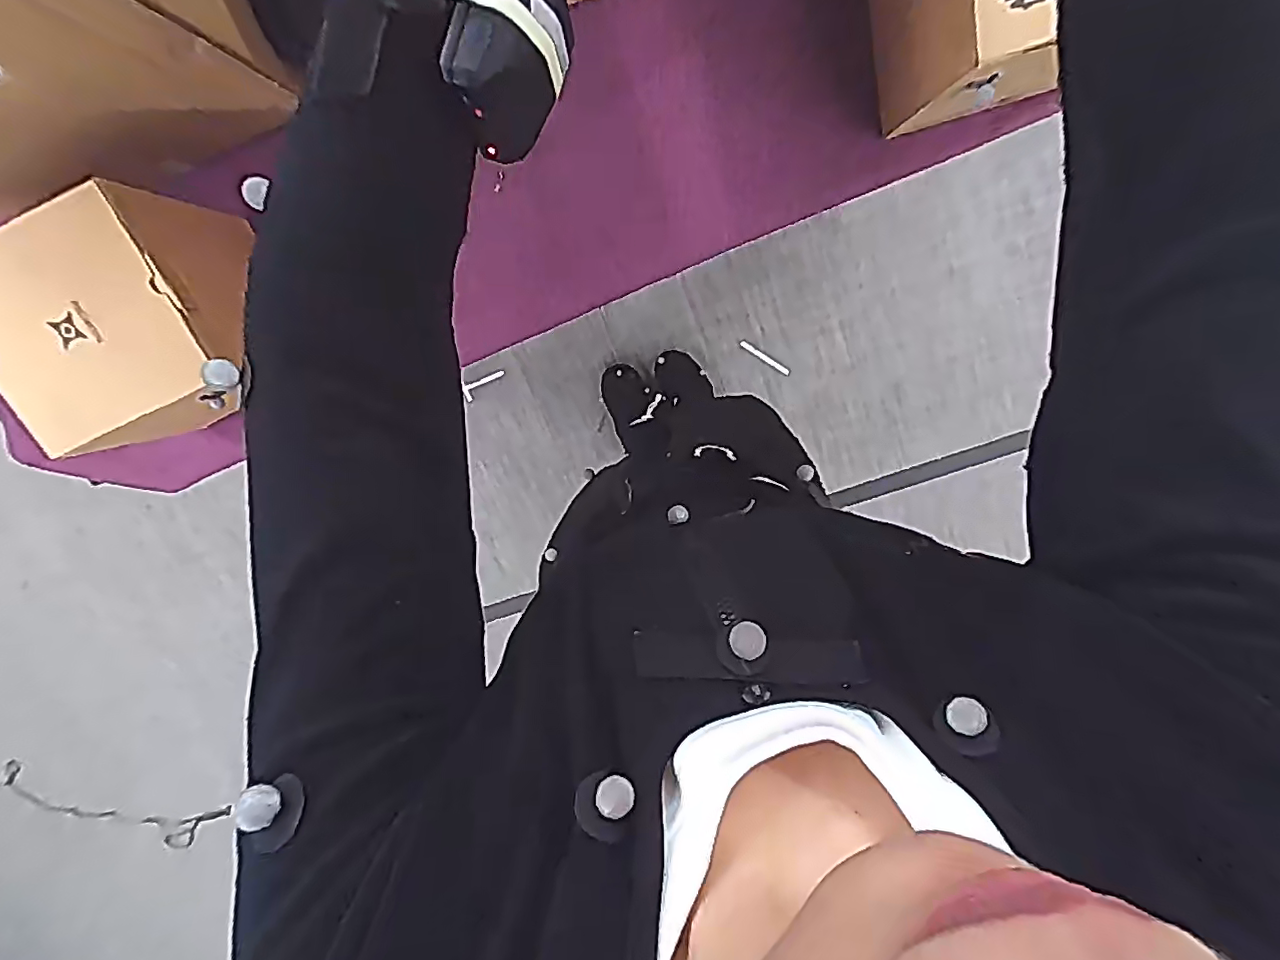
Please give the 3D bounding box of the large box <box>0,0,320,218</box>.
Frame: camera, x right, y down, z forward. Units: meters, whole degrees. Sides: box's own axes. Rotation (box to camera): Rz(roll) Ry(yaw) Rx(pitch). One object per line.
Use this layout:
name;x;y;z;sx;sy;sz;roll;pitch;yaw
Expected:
large box;-0.524;-0.450;0.356;0.320;0.320;0.408;-20;109;8
